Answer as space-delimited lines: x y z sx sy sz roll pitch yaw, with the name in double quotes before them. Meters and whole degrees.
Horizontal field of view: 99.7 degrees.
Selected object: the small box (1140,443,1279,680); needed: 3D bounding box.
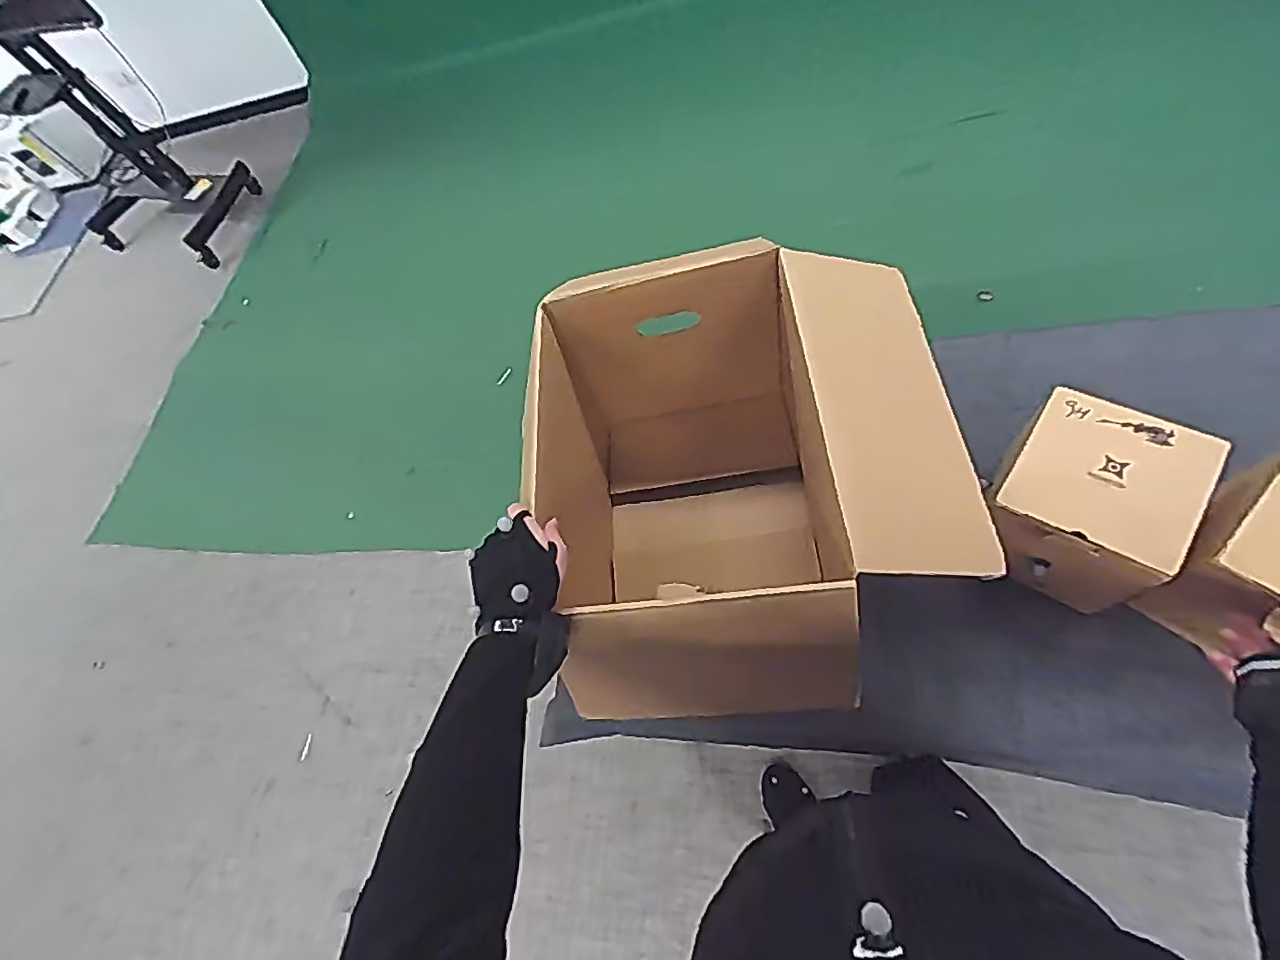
"small box" 0.691 0.091 0.570 0.168 0.176 0.179 38 79 27
